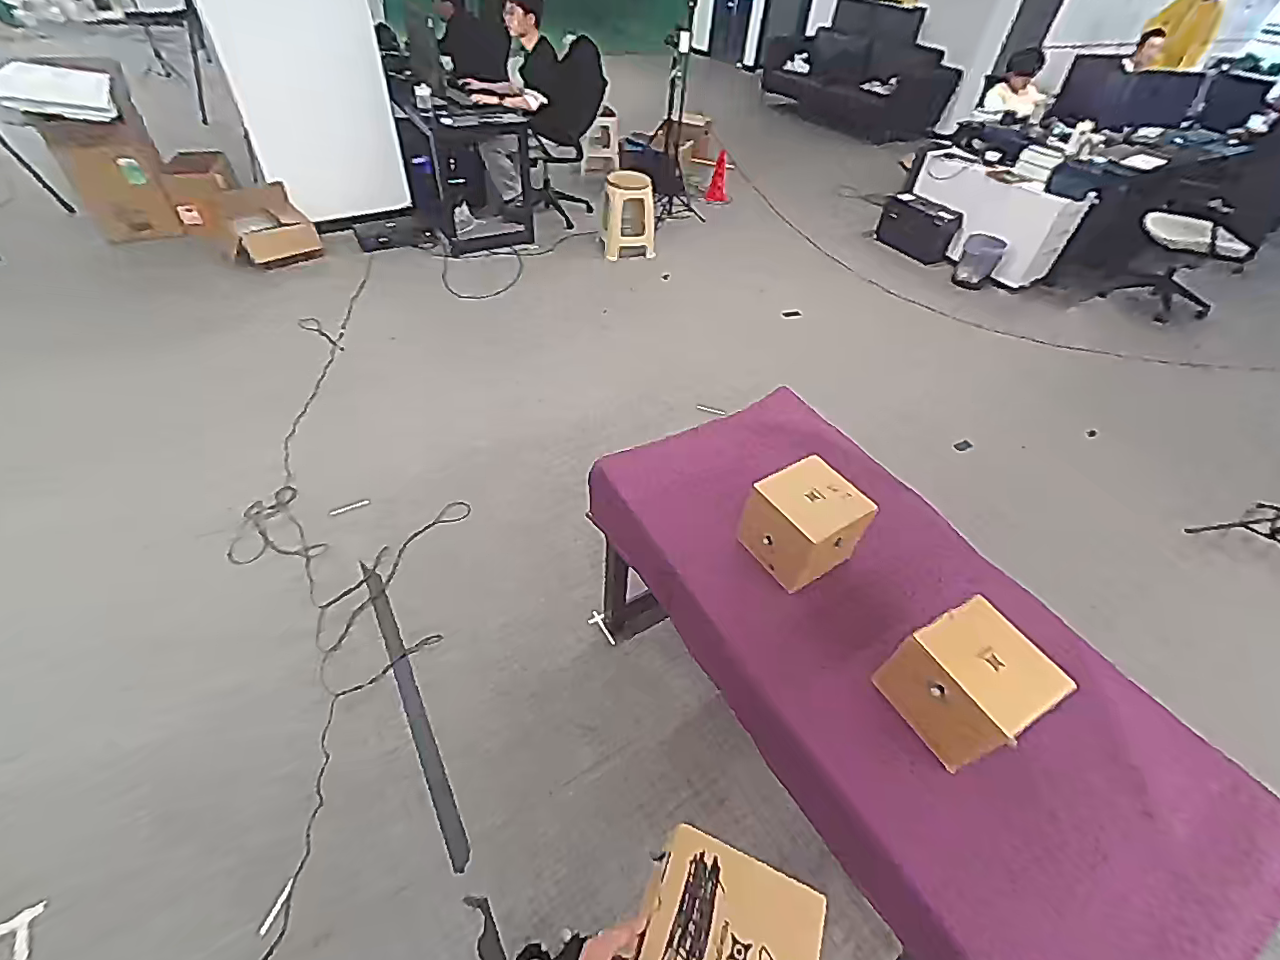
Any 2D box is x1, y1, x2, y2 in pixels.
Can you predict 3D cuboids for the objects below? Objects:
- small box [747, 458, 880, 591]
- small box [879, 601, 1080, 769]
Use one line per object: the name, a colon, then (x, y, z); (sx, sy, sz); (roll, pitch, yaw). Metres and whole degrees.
small box: (0.331, 0.091, 1.074); (0.179, 0.176, 0.168); (-22, 53, -25)
small box: (0.528, 0.334, 0.867); (0.168, 0.176, 0.179); (-19, 51, -22)
